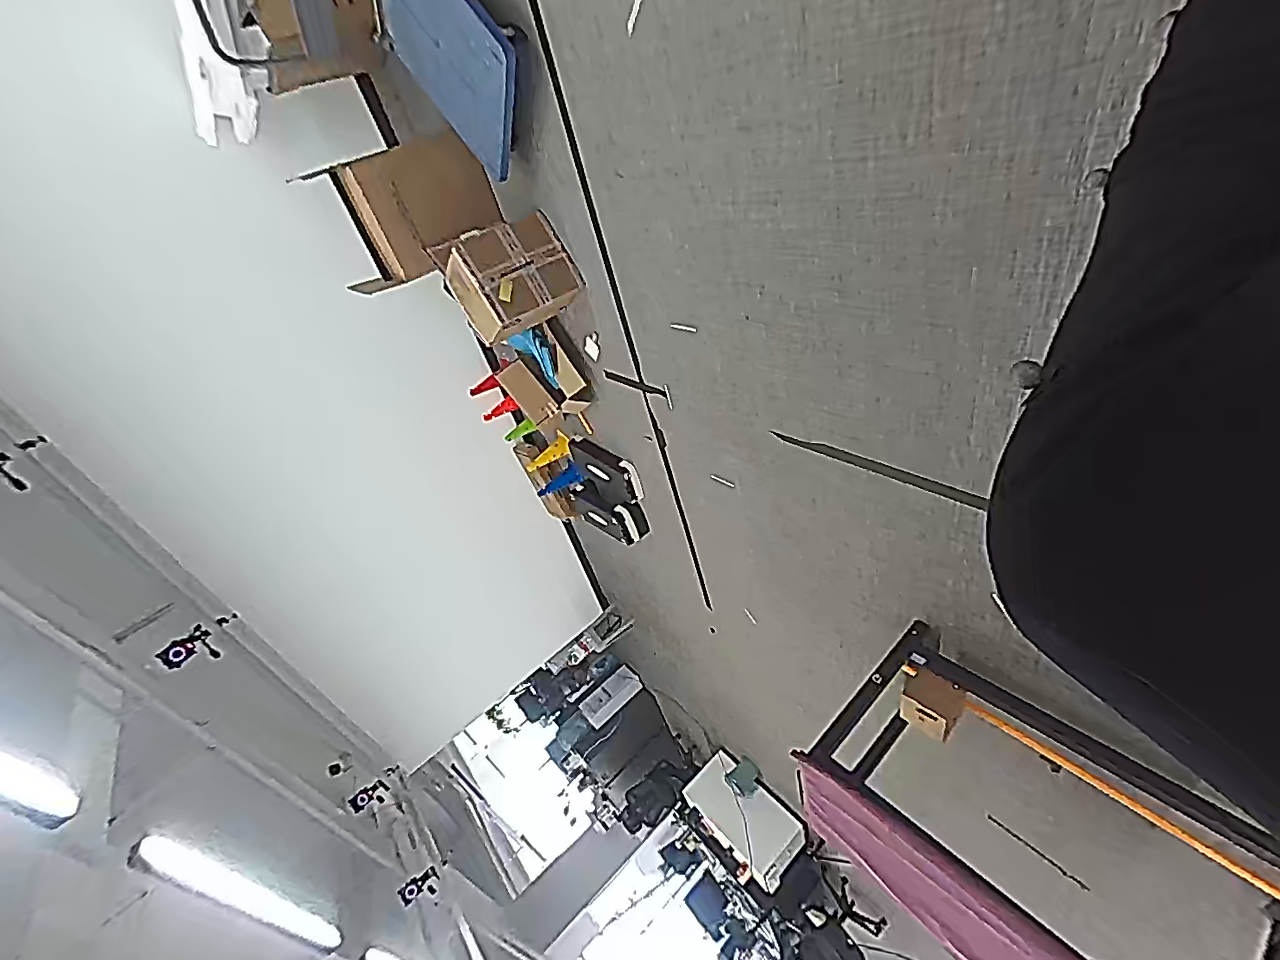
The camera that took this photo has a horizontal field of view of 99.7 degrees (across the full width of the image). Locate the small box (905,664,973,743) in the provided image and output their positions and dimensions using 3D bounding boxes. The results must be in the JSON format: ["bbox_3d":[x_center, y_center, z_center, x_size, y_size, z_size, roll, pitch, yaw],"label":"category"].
[{"bbox_3d":[1.107,0.820,2.004,0.168,0.176,0.179,27,146,45],"label":"small box"}]
